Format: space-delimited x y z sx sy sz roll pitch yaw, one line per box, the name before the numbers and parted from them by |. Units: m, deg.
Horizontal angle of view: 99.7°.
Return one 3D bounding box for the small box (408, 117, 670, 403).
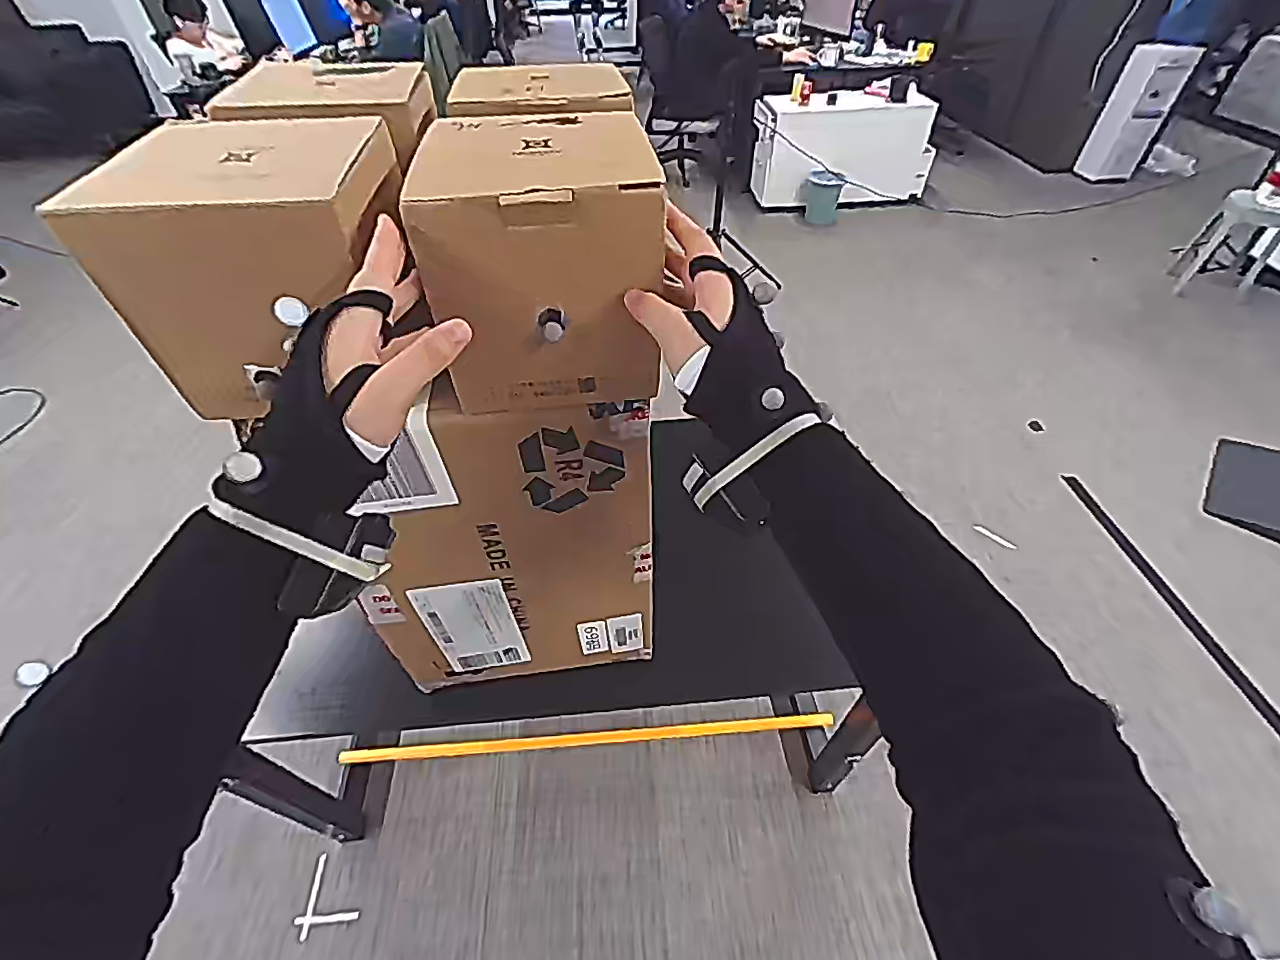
small box | -0.071 -0.176 0.446 0.168 0.176 0.179 -4 48 -6
